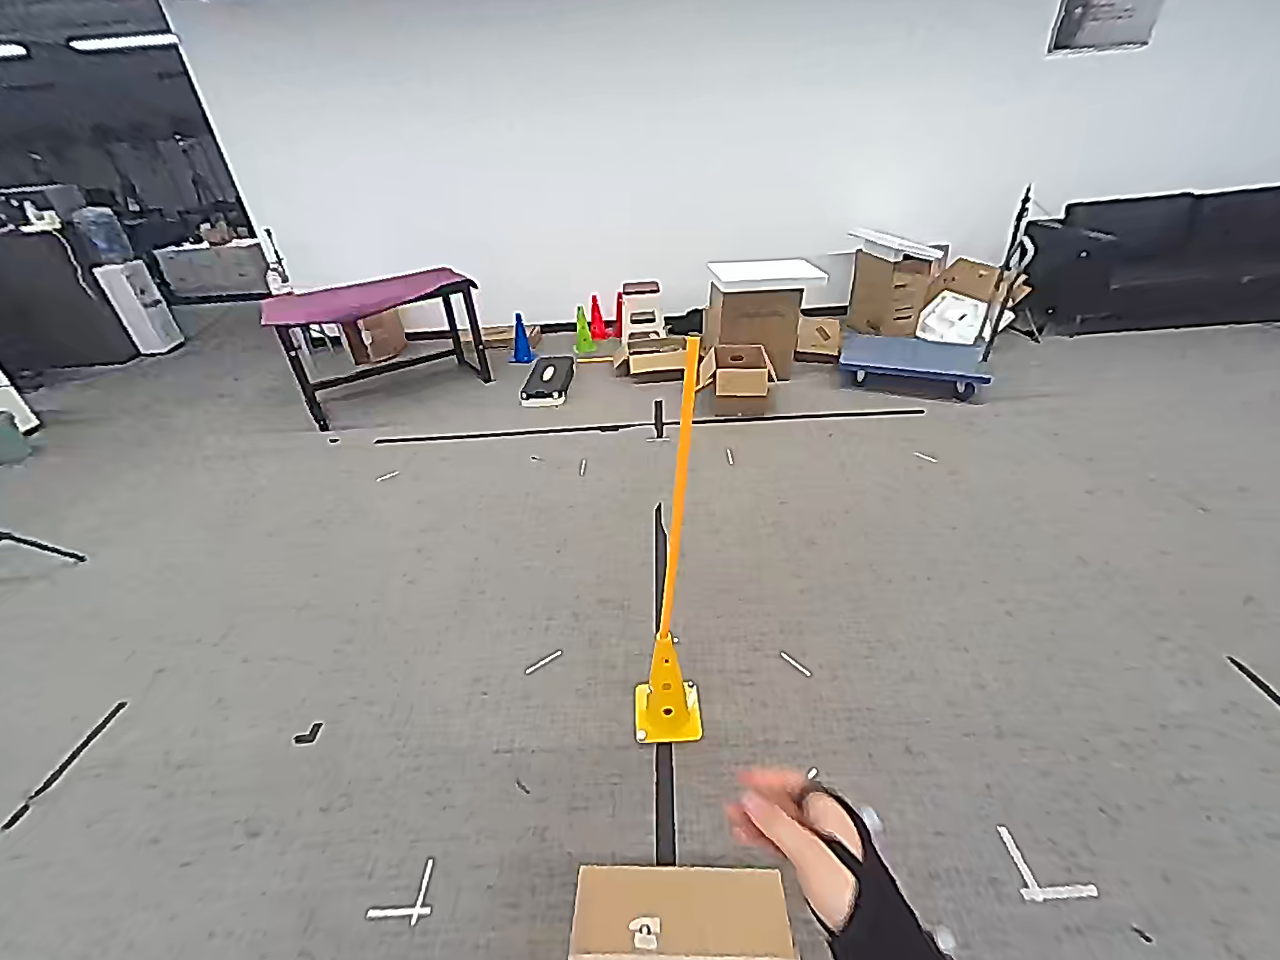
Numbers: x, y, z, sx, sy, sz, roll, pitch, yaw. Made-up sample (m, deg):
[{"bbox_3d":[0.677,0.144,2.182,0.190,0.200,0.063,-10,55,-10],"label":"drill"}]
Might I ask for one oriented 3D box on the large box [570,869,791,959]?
[{"bbox_3d":[0.080,0.993,1.032,0.408,0.320,0.320,-2,30,2],"label":"large box"}]
